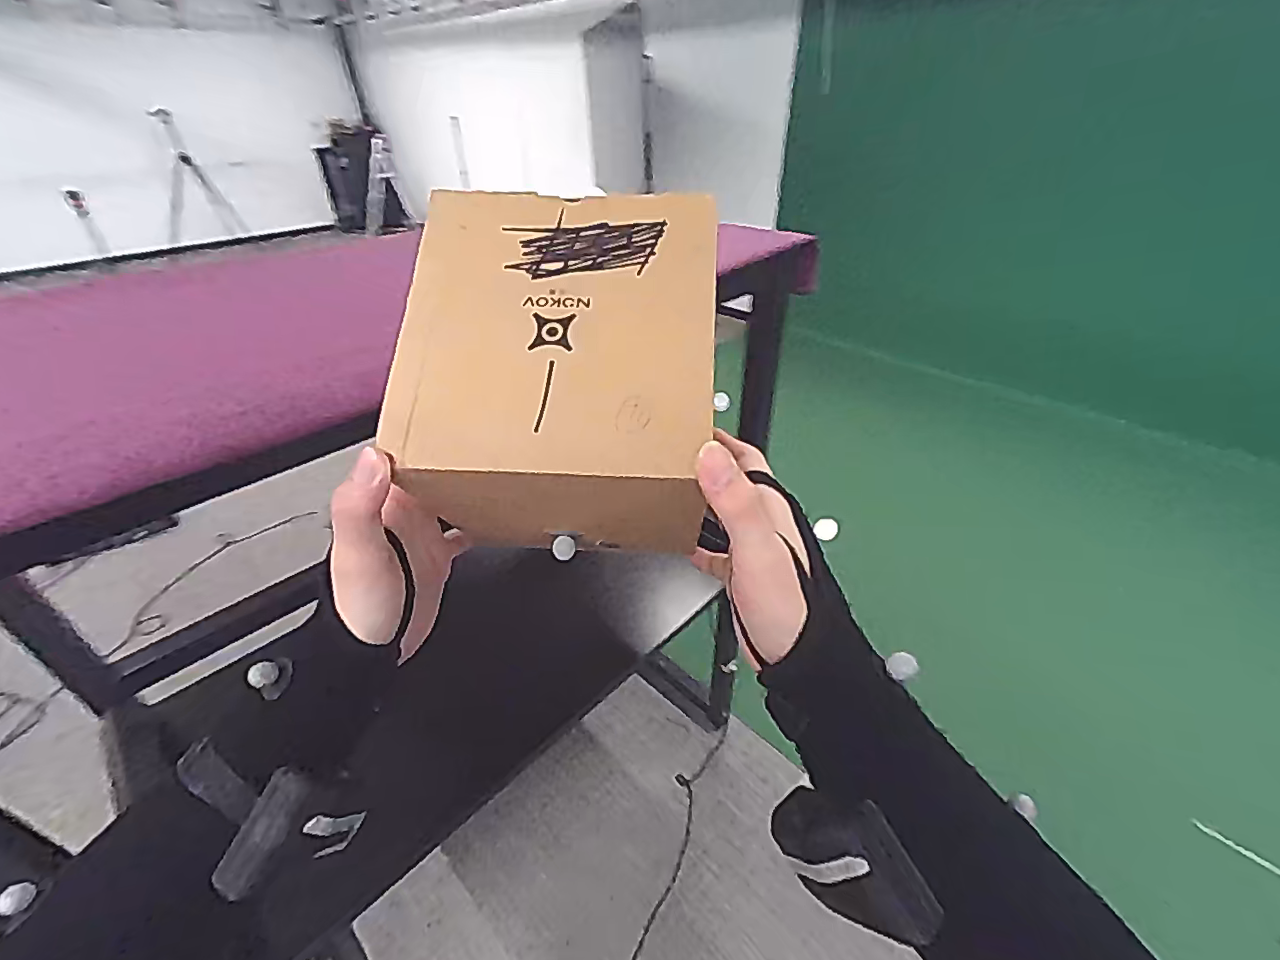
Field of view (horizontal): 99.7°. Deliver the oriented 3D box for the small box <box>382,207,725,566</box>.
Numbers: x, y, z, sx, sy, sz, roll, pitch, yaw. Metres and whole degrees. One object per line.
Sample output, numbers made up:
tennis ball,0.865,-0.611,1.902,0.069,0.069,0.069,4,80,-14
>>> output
small box,-0.036,-0.049,0.362,0.168,0.176,0.179,3,71,5
